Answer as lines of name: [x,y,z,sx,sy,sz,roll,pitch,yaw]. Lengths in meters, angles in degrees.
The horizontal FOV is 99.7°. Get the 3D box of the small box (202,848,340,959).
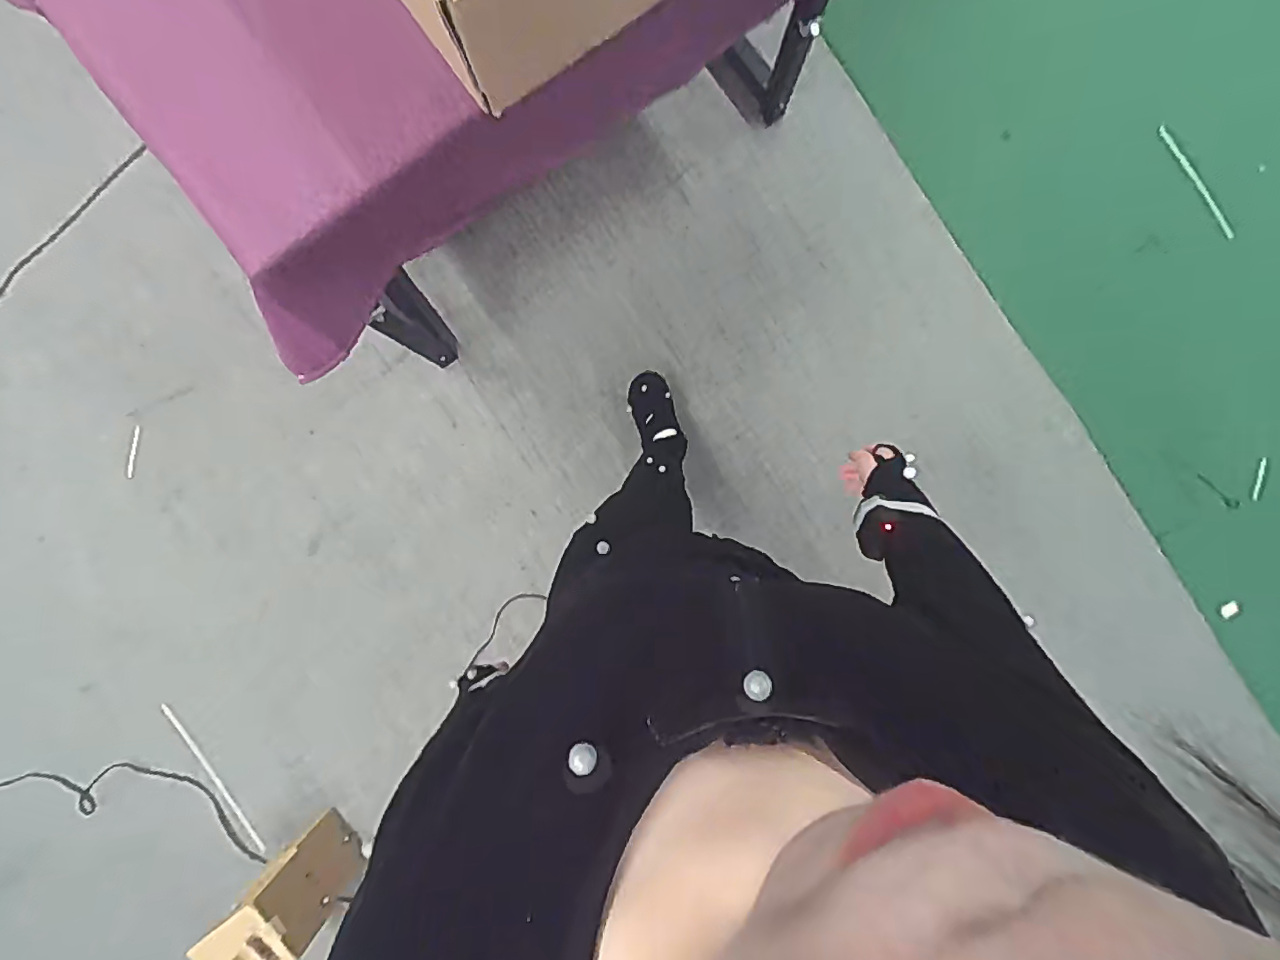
small box: [-0.837,1.011,1.254,0.179,0.176,0.168,-37,89,1]
